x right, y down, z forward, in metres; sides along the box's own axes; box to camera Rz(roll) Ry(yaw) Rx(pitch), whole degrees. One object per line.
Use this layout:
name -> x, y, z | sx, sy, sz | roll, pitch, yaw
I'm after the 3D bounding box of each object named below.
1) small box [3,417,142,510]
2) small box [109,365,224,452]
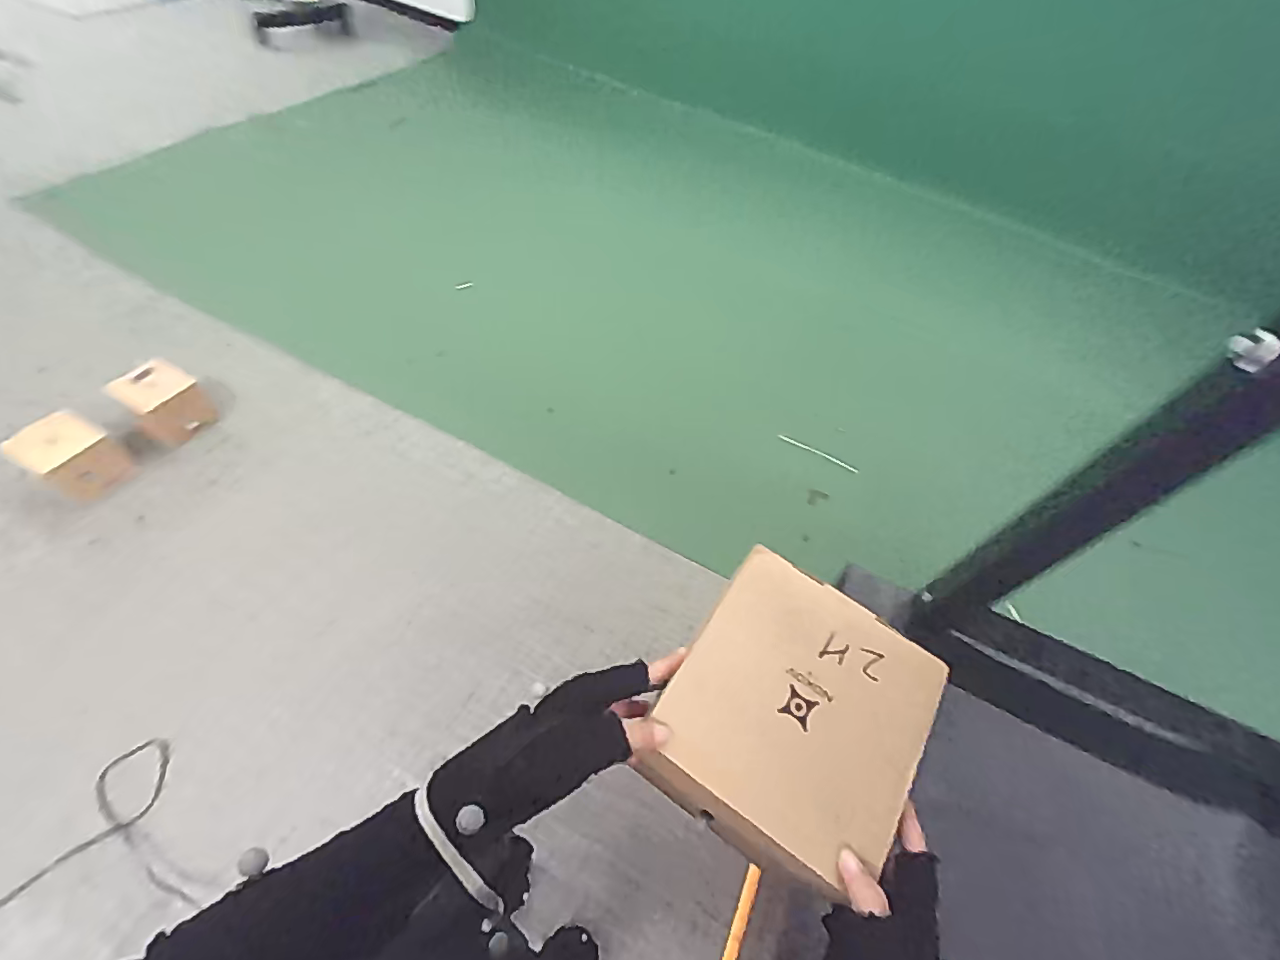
small box -> -1.570, -0.039, 1.512 | 0.179, 0.176, 0.168 | 25, 53, 10
small box -> -1.445, -0.215, 1.663 | 0.179, 0.176, 0.168 | 27, 54, 9
